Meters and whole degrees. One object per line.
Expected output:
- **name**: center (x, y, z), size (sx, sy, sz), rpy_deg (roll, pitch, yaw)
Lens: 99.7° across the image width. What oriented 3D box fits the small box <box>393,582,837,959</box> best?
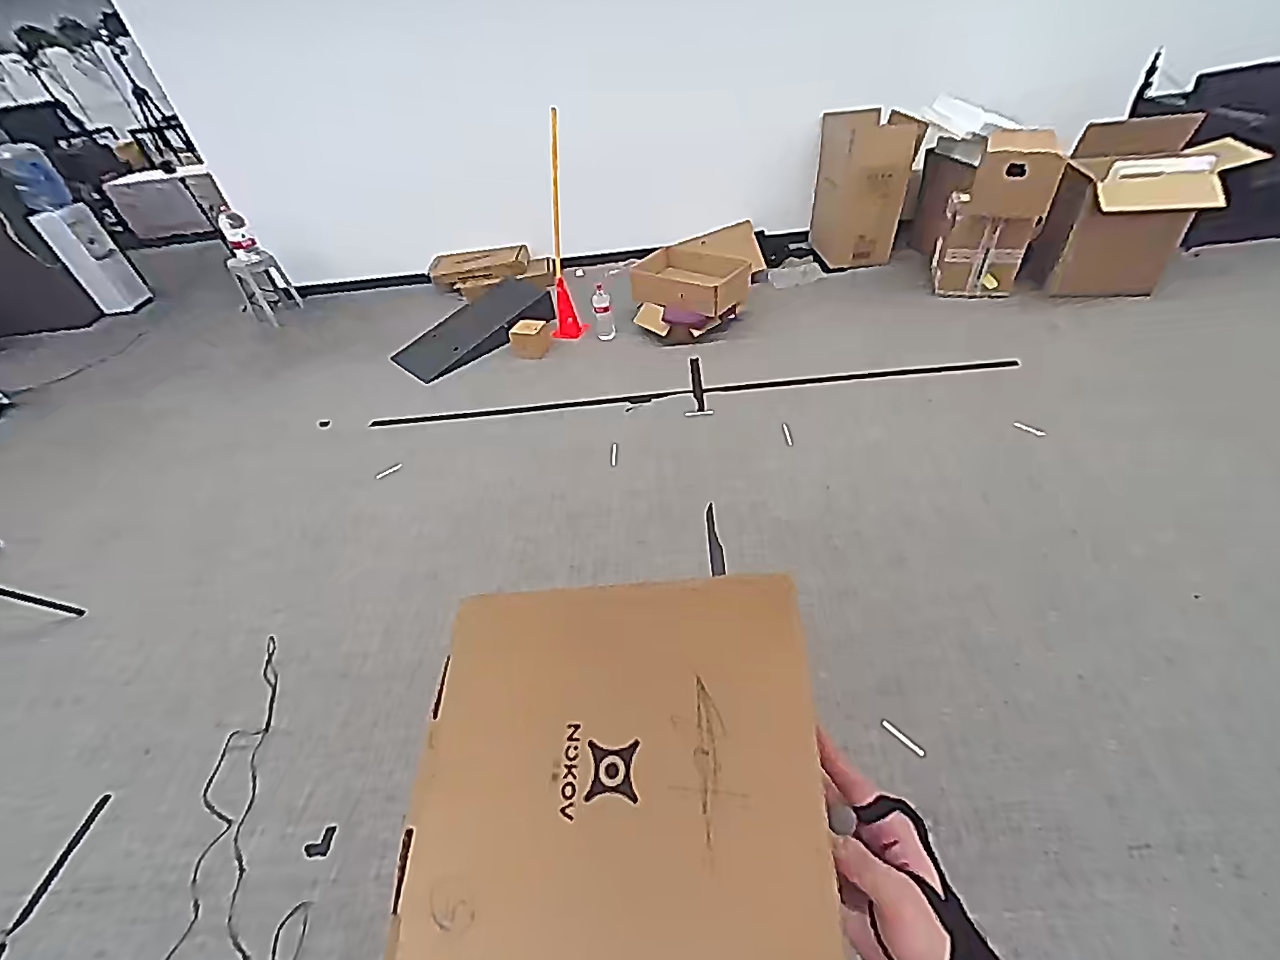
- **small box**: center (0.005, 0.171, 0.300), size (0.179, 0.176, 0.168), rpy_deg (-7, 56, 12)
